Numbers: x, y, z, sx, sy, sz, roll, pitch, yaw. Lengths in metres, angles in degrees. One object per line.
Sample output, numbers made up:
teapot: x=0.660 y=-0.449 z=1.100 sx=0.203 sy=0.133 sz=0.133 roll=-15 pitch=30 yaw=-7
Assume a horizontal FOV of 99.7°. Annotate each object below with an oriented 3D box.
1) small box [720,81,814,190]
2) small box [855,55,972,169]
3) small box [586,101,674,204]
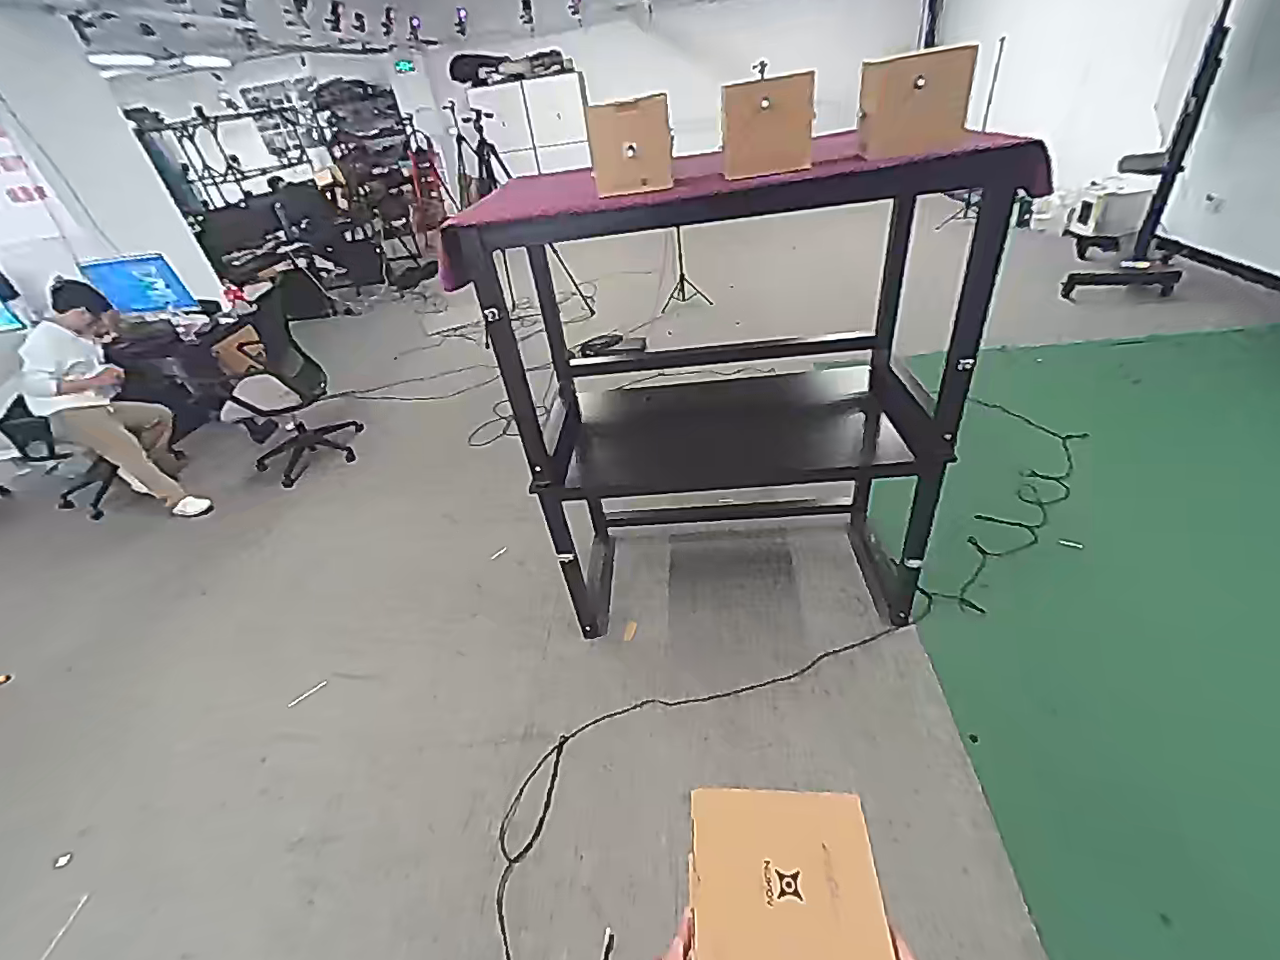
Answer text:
small box: x=0.266 y=-0.738 z=1.160 sx=0.179 sy=0.176 sz=0.168 roll=-5 pitch=34 yaw=8
small box: x=0.550 y=-0.756 z=1.117 sx=0.179 sy=0.176 sz=0.168 roll=-2 pitch=37 yaw=11
small box: x=-0.014 y=-0.720 z=1.195 sx=0.168 sy=0.176 sz=0.179 roll=-4 pitch=35 yaw=7
